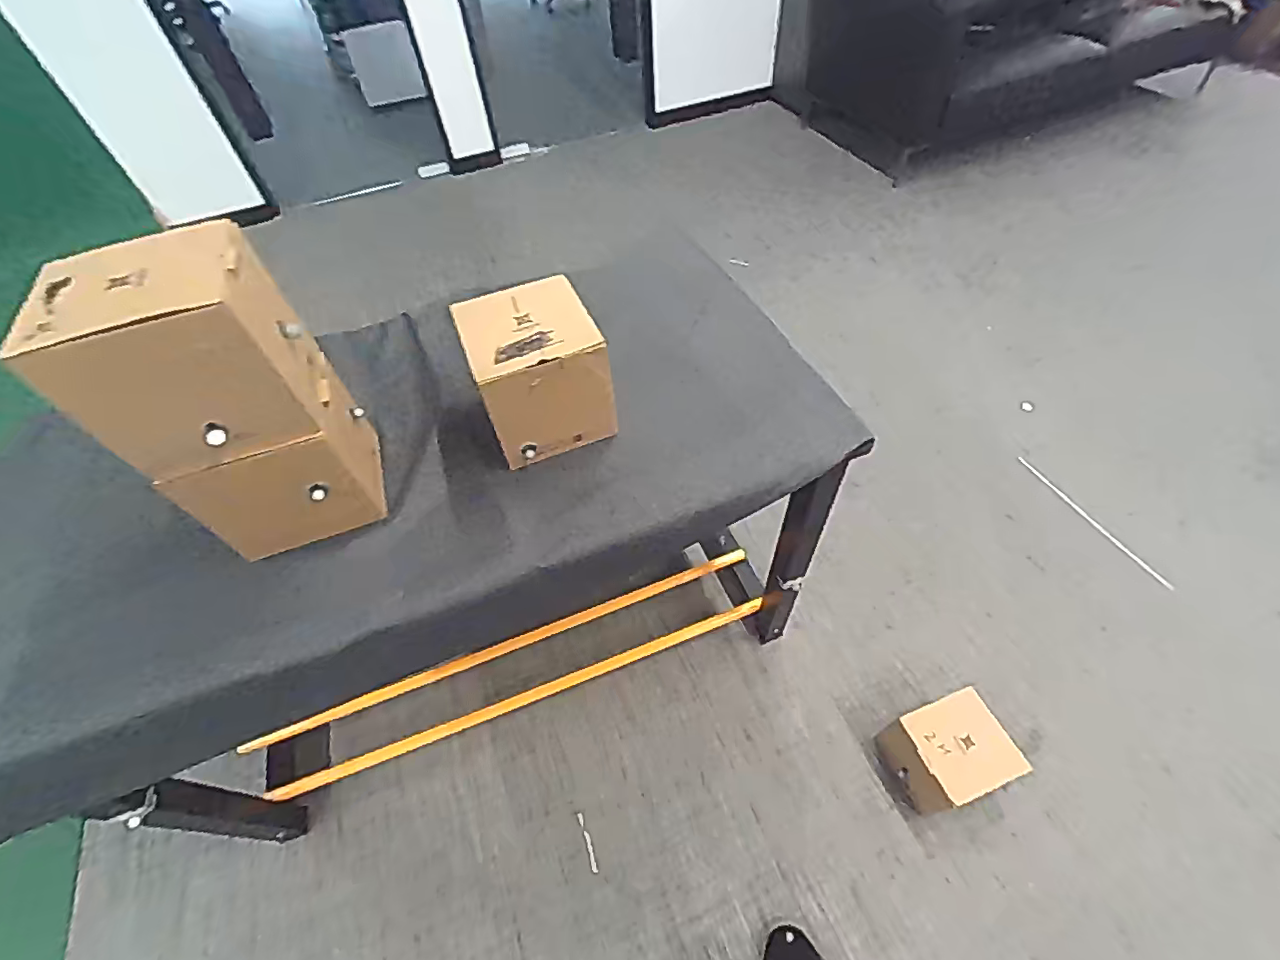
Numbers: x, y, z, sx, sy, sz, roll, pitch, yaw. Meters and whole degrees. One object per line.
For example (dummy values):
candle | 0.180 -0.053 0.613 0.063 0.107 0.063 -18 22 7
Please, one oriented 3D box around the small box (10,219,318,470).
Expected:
small box | -0.464 -0.139 0.569 0.179 0.176 0.168 -20 53 -12

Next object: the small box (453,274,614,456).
small box | -0.144 -0.155 0.766 0.168 0.176 0.179 -20 53 -12

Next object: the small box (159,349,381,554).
small box | -0.451 -0.034 0.694 0.179 0.176 0.168 -19 52 -10

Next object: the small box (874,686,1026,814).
small box | 0.612 0.548 1.093 0.179 0.176 0.168 -18 53 -10
